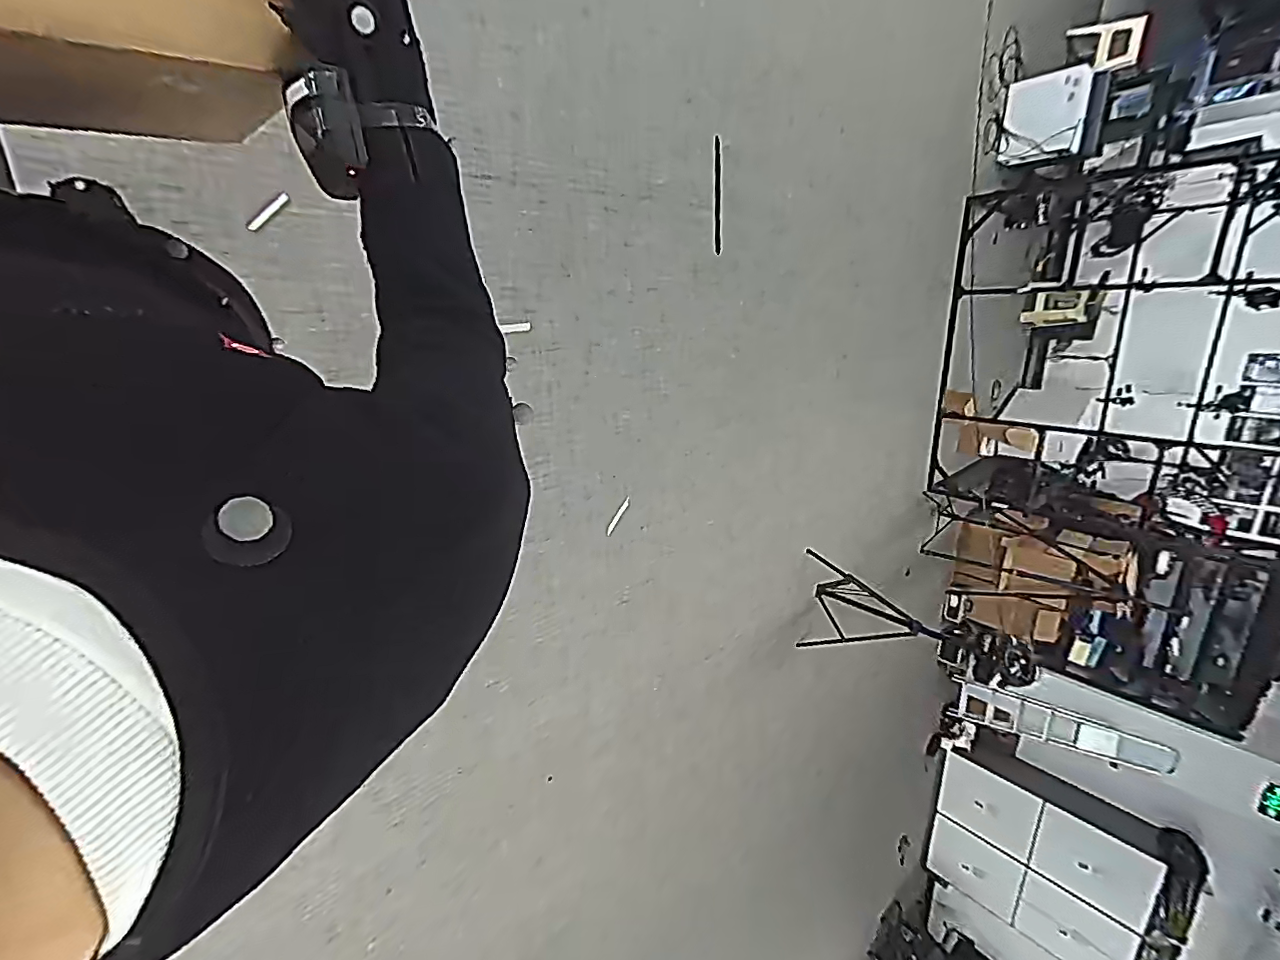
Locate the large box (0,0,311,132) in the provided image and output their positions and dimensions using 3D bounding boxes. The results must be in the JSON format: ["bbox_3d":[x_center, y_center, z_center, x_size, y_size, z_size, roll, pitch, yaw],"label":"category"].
[{"bbox_3d":[-0.469,-0.398,0.280,0.408,0.320,0.320,-21,122,-38],"label":"large box"}]
